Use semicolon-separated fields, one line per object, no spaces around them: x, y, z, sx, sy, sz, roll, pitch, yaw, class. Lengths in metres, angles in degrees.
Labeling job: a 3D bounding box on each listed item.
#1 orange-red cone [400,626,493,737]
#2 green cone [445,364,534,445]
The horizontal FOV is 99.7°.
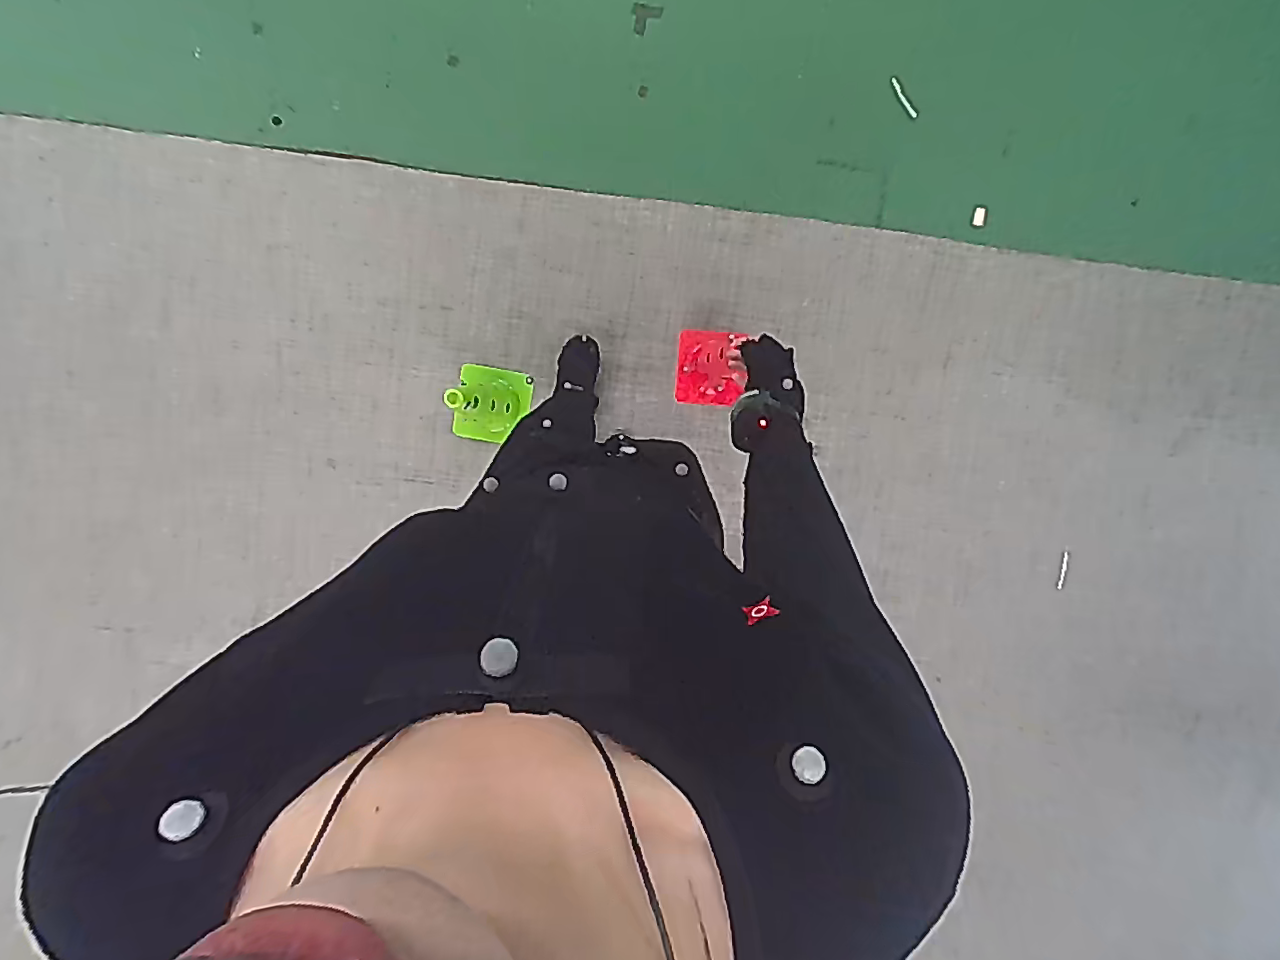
-0.520;0.533;1.363;0.198;0.360;0.199;11;93;-4;orange-red cone
-0.393;-0.185;1.297;0.200;0.368;0.202;9;96;-2;green cone
